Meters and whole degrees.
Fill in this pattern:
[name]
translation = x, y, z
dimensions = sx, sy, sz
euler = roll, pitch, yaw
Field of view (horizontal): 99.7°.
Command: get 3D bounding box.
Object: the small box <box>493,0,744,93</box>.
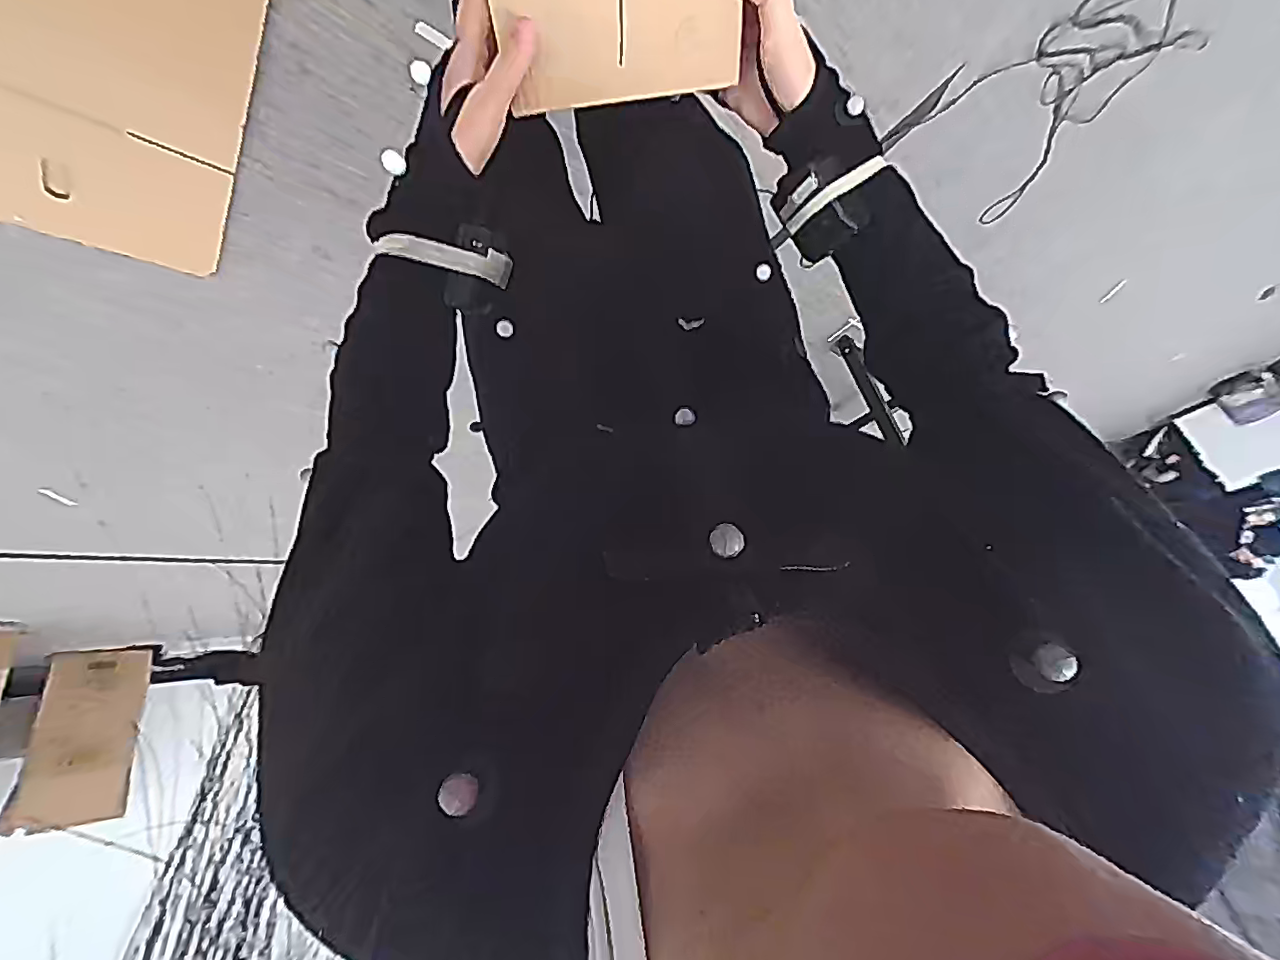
[small box]
translation = -0.029, -0.395, 0.370
dimensions = 0.168, 0.176, 0.179
euler = -10, 137, -4
